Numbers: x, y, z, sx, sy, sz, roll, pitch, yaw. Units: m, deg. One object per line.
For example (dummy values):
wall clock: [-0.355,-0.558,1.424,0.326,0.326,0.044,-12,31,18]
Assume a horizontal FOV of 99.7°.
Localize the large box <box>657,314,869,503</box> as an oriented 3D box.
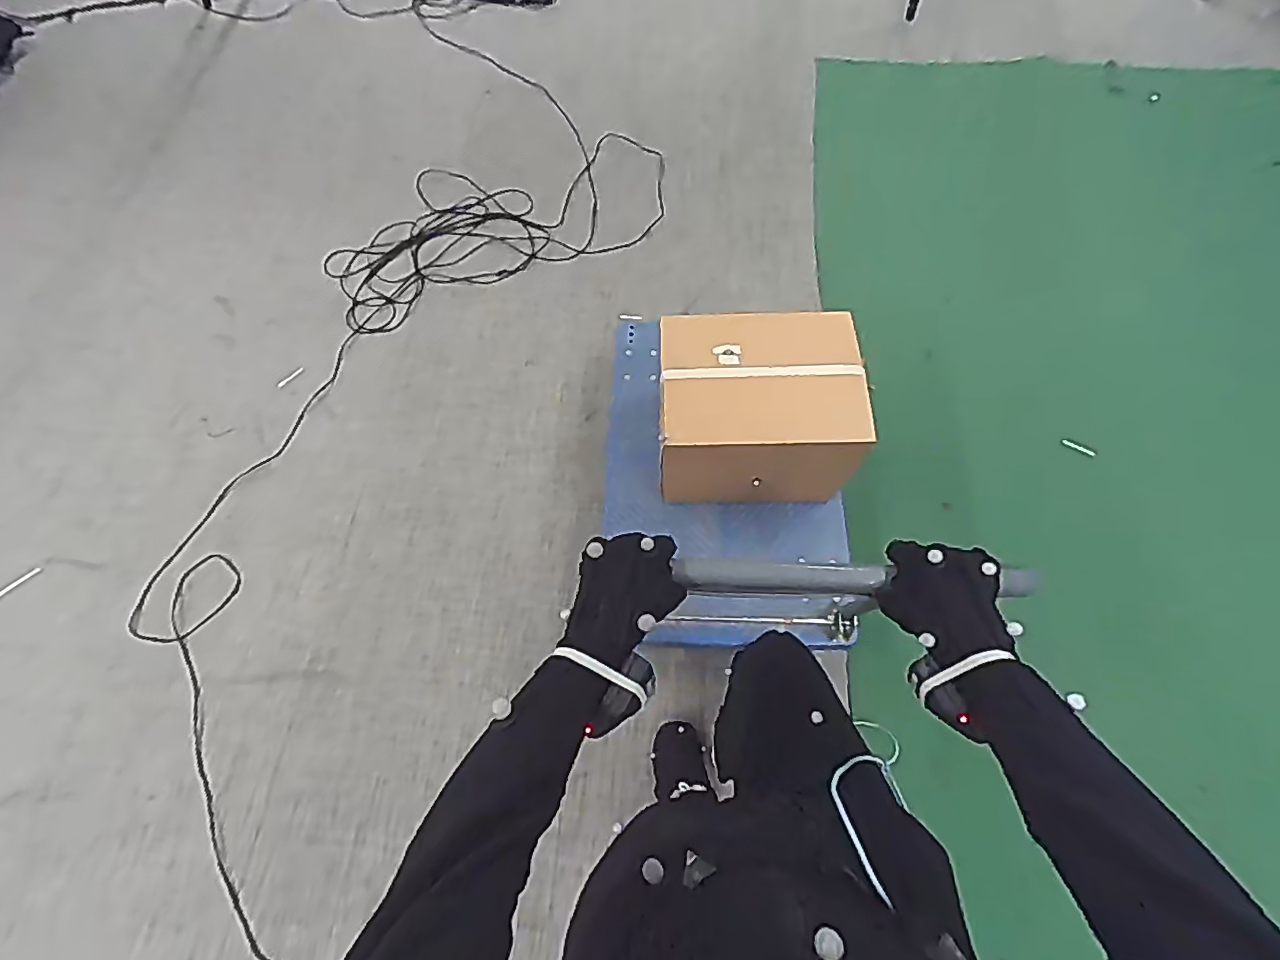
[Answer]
large box: [0.249,-0.146,1.238,0.408,0.320,0.320,-2,66,3]
